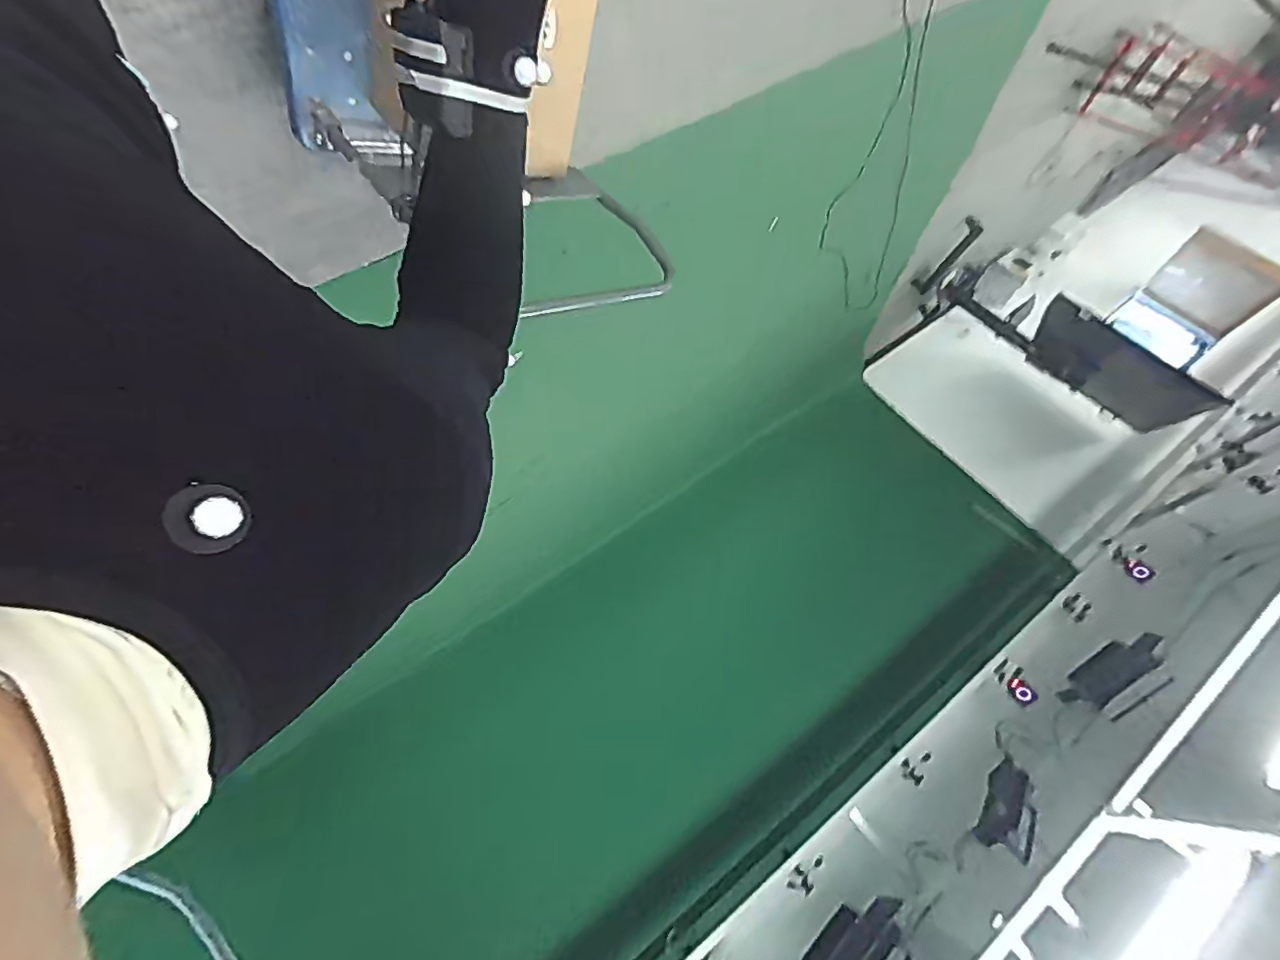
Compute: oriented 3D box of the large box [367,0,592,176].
[{"bbox_3d":[-0.323,-0.875,1.058,0.320,0.320,0.408,-24,153,-35],"label":"large box"}]
